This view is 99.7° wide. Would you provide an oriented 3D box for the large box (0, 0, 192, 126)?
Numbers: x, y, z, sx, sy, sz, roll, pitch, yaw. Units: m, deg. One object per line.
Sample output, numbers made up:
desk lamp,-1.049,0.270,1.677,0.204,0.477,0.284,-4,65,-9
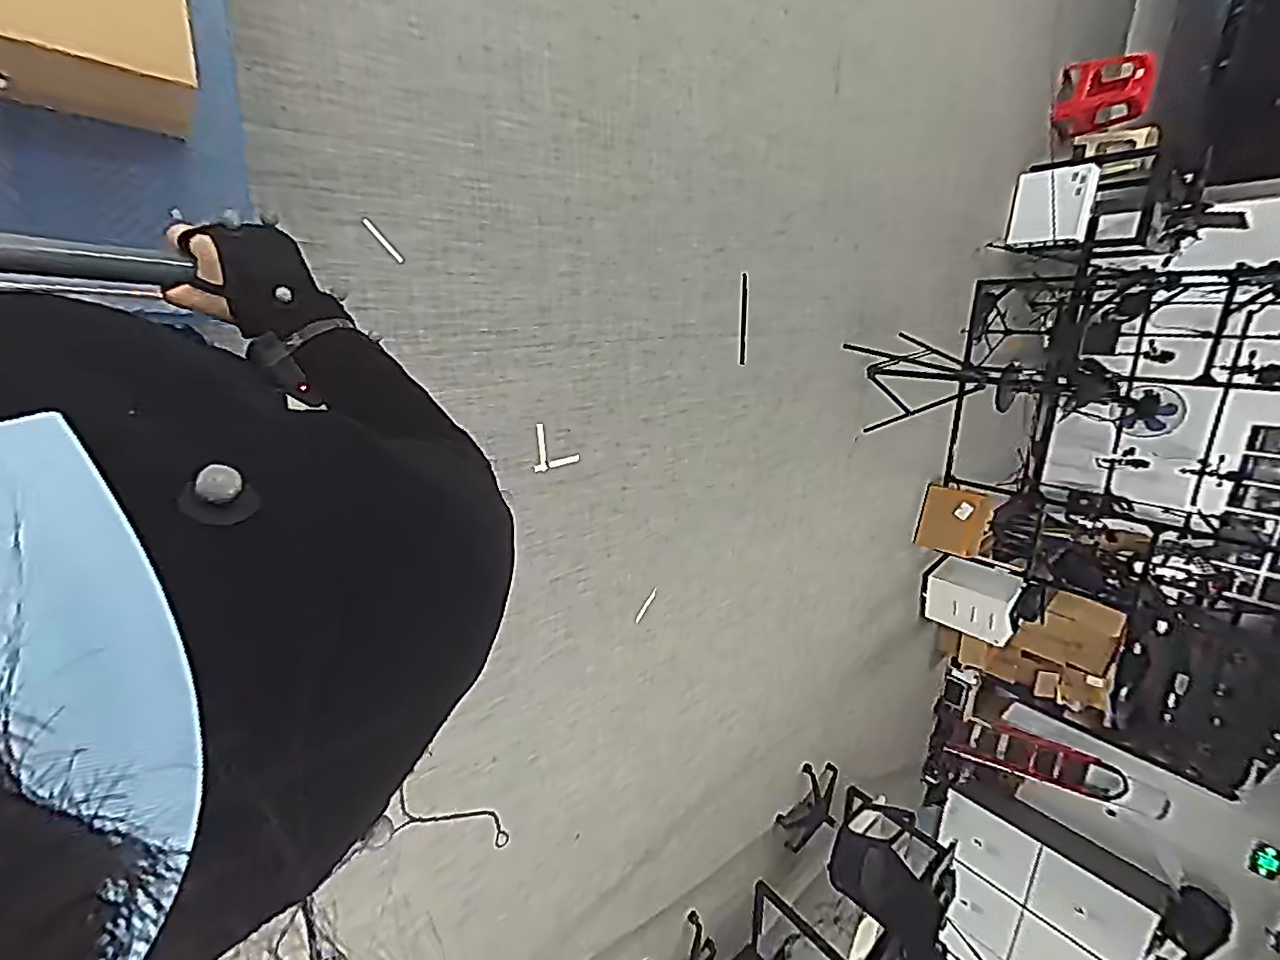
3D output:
large box,-0.848,-0.700,0.678,0.408,0.320,0.320,-9,109,-39
